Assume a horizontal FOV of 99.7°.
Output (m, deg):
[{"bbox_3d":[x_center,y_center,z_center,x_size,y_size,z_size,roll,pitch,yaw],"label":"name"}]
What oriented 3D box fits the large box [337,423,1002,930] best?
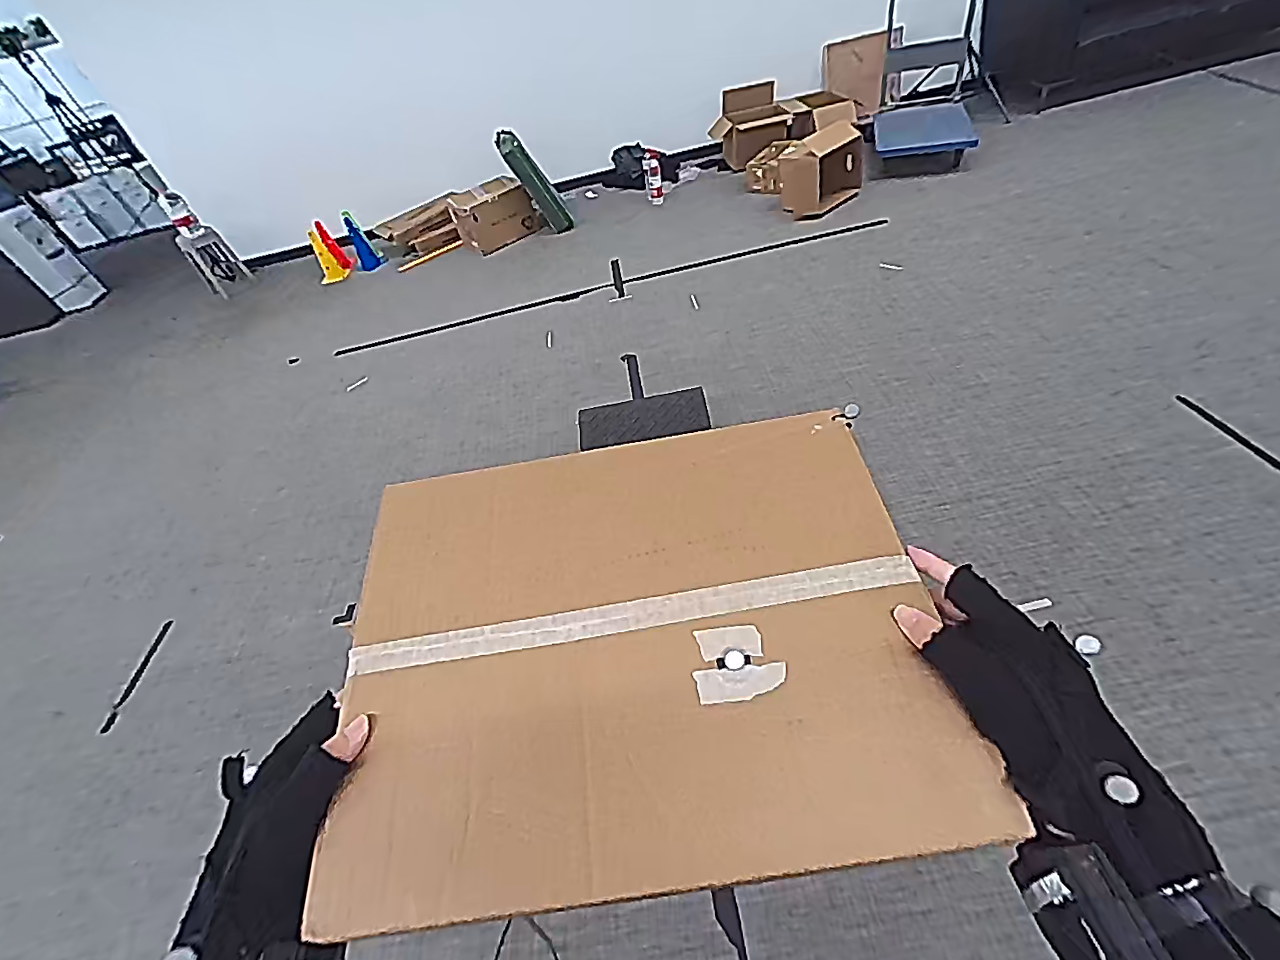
[{"bbox_3d":[0.012,0.191,0.519,0.408,0.320,0.320,-10,55,1],"label":"large box"}]
